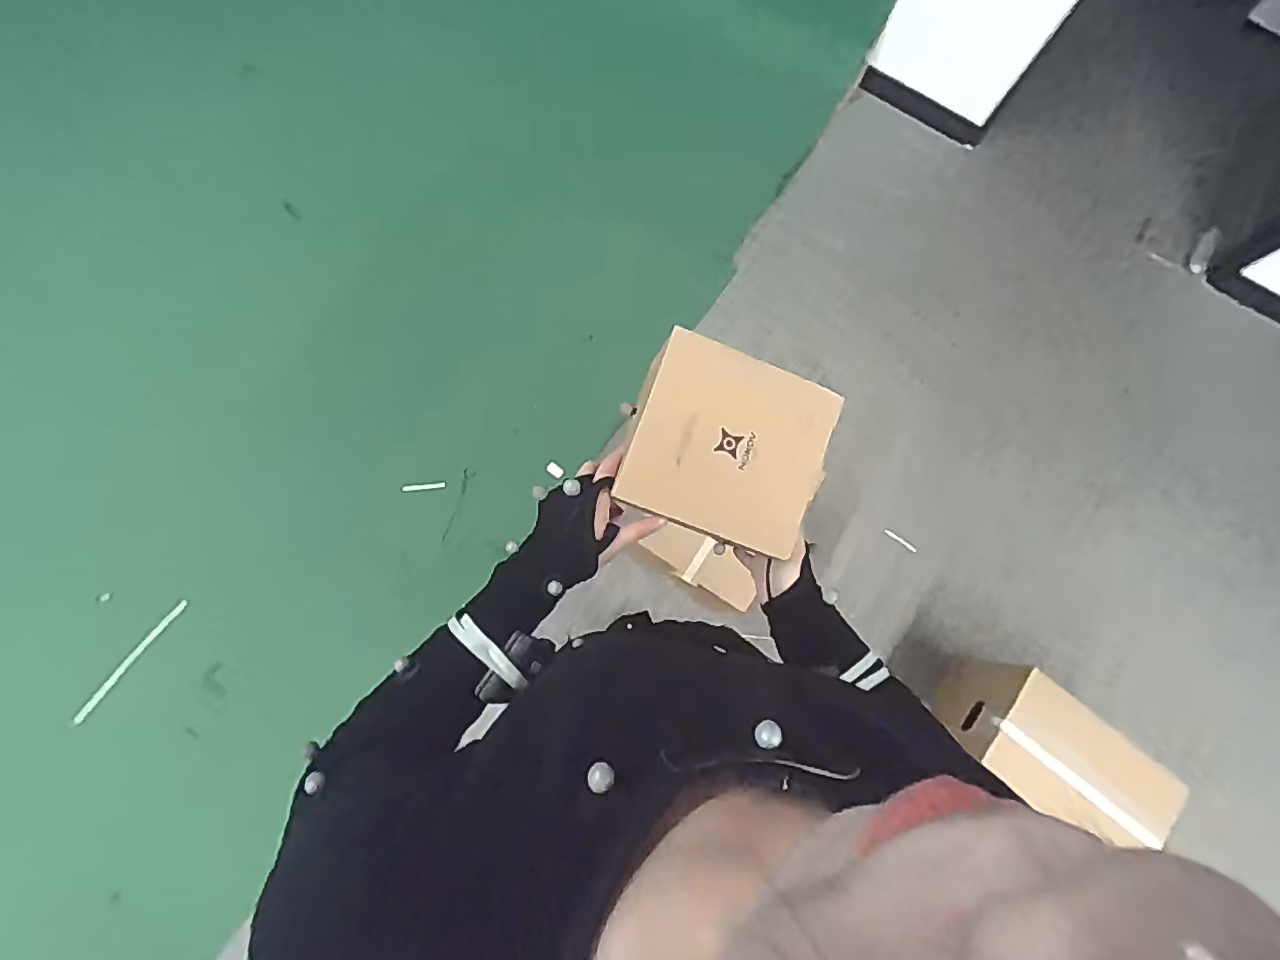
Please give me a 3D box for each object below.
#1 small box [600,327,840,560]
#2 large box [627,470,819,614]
[{"bbox_3d":[0.069,-0.031,0.566,0.179,0.176,0.168,21,86,-6],"label":"small box"},{"bbox_3d":[0.198,0.098,1.427,0.320,0.320,0.408,34,75,5],"label":"large box"}]
